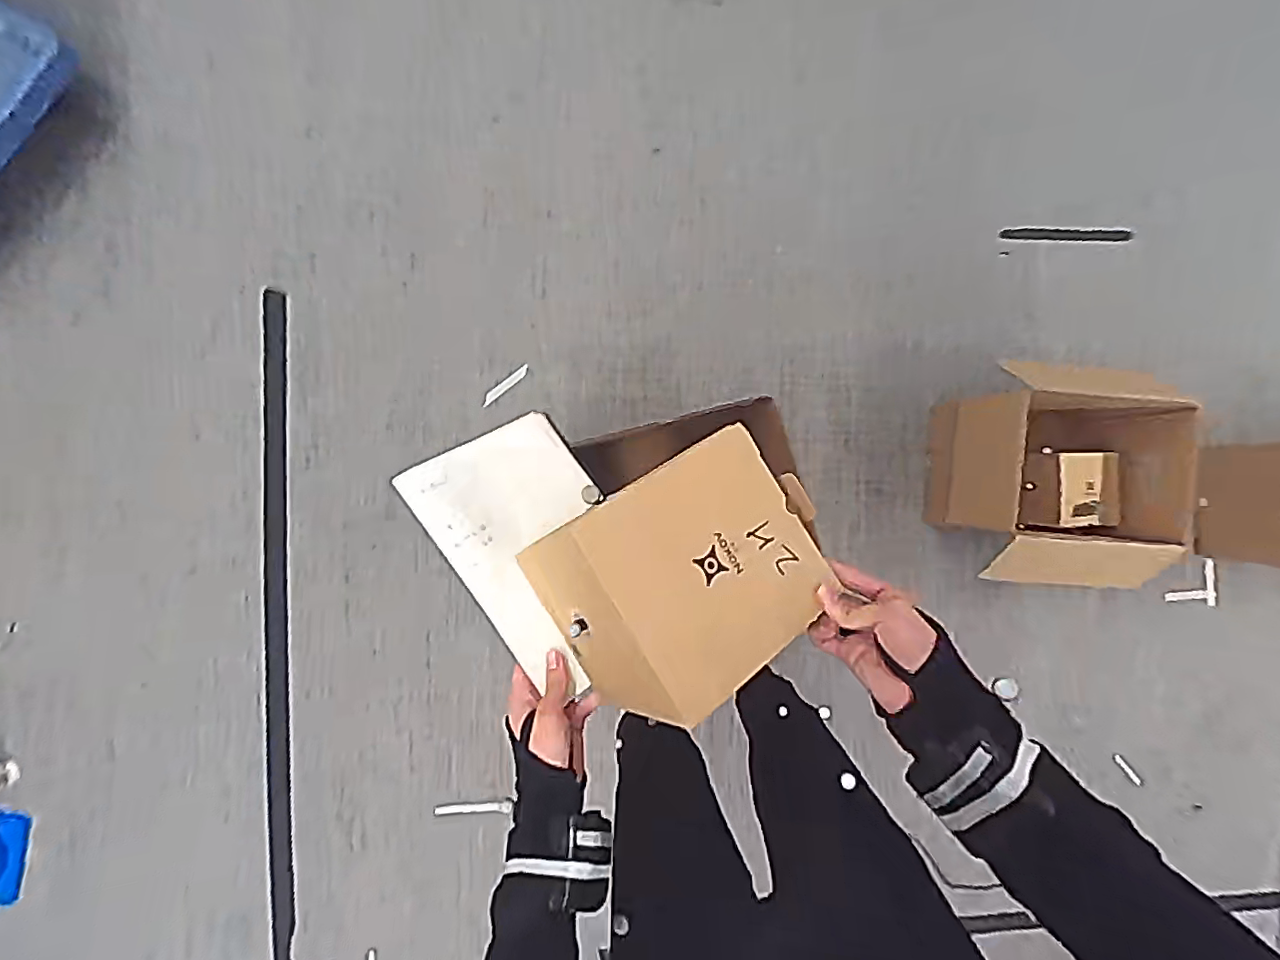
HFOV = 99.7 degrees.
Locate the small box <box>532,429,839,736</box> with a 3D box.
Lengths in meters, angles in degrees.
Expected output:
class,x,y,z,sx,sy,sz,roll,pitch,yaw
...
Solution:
class,x,y,z,sx,sy,sz,roll,pitch,yaw
small box,0.024,0.084,0.466,0.179,0.176,0.168,-30,91,-30
